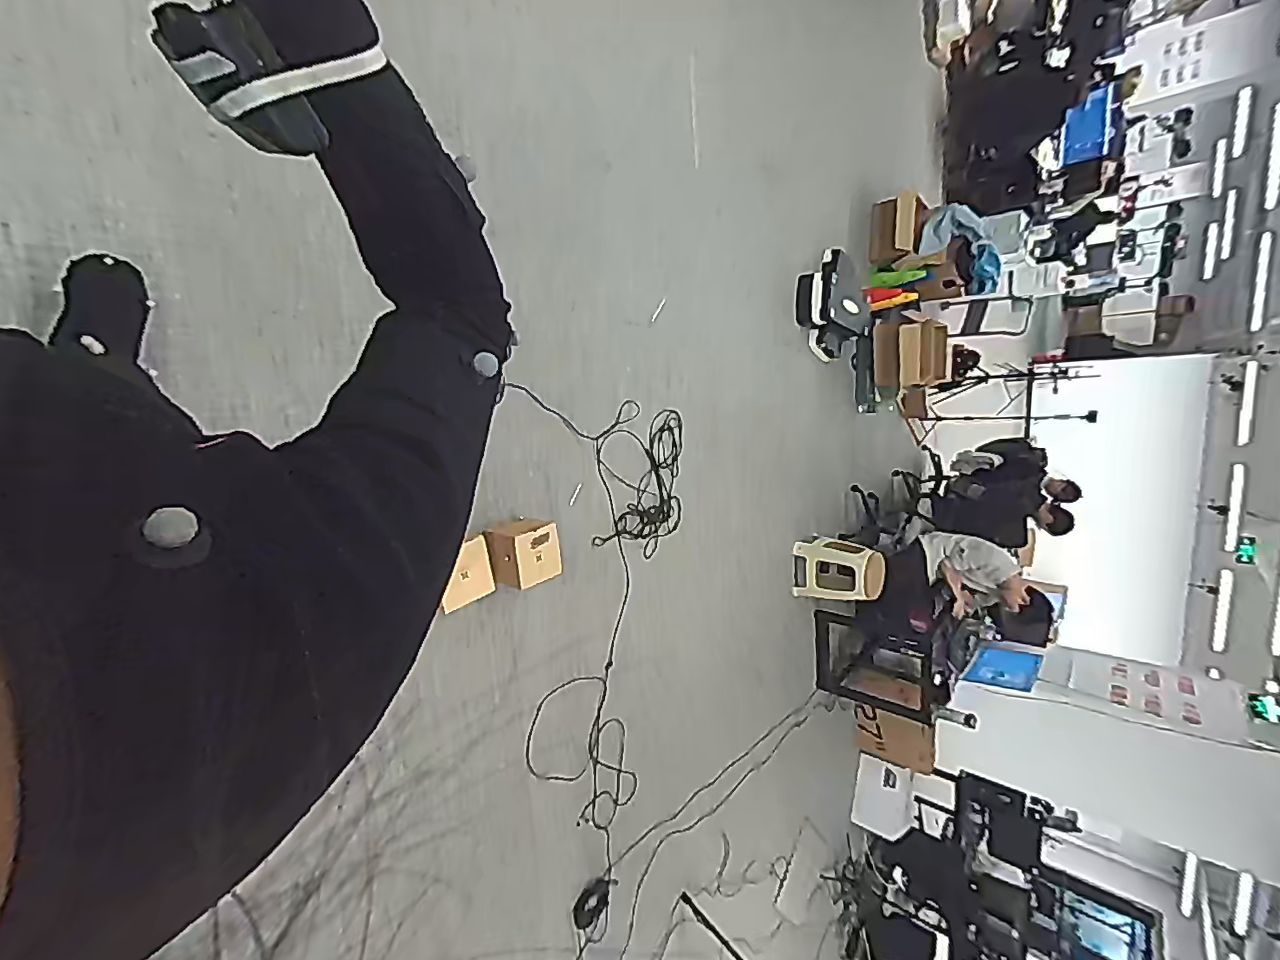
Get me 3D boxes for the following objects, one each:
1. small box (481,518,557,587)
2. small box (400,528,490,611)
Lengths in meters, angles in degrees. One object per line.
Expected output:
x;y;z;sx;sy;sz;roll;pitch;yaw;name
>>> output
-0.394;0.225;1.750;0.168;0.176;0.179;-18;108;-47;small box
-0.563;0.251;1.560;0.168;0.176;0.179;-22;109;-46;small box
